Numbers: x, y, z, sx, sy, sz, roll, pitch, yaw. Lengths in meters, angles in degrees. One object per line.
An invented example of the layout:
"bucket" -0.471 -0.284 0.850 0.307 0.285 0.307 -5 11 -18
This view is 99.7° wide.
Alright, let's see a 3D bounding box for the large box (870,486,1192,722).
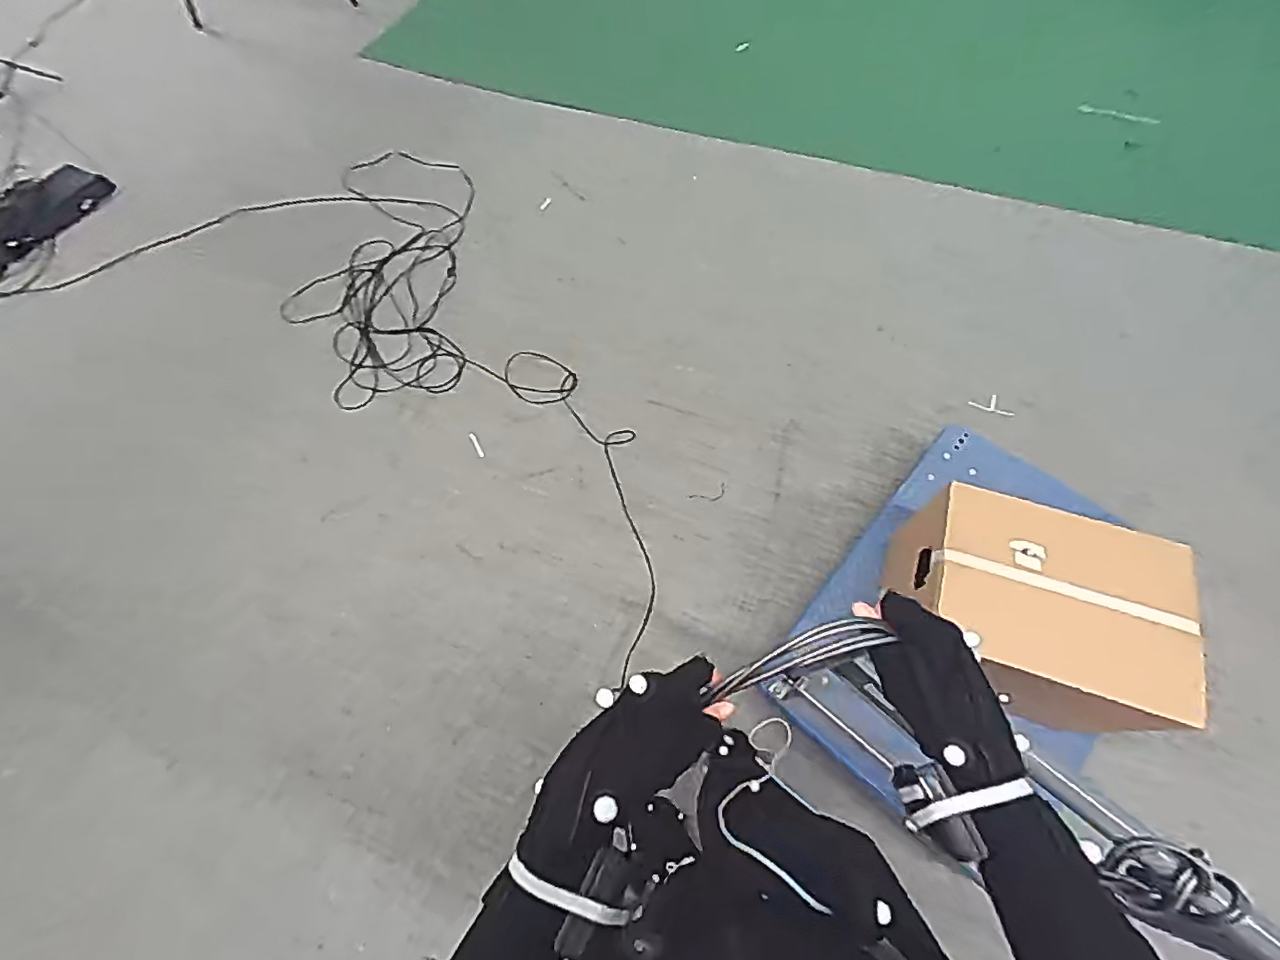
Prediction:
"large box" 0.729 0.256 1.067 0.408 0.320 0.320 16 66 11
